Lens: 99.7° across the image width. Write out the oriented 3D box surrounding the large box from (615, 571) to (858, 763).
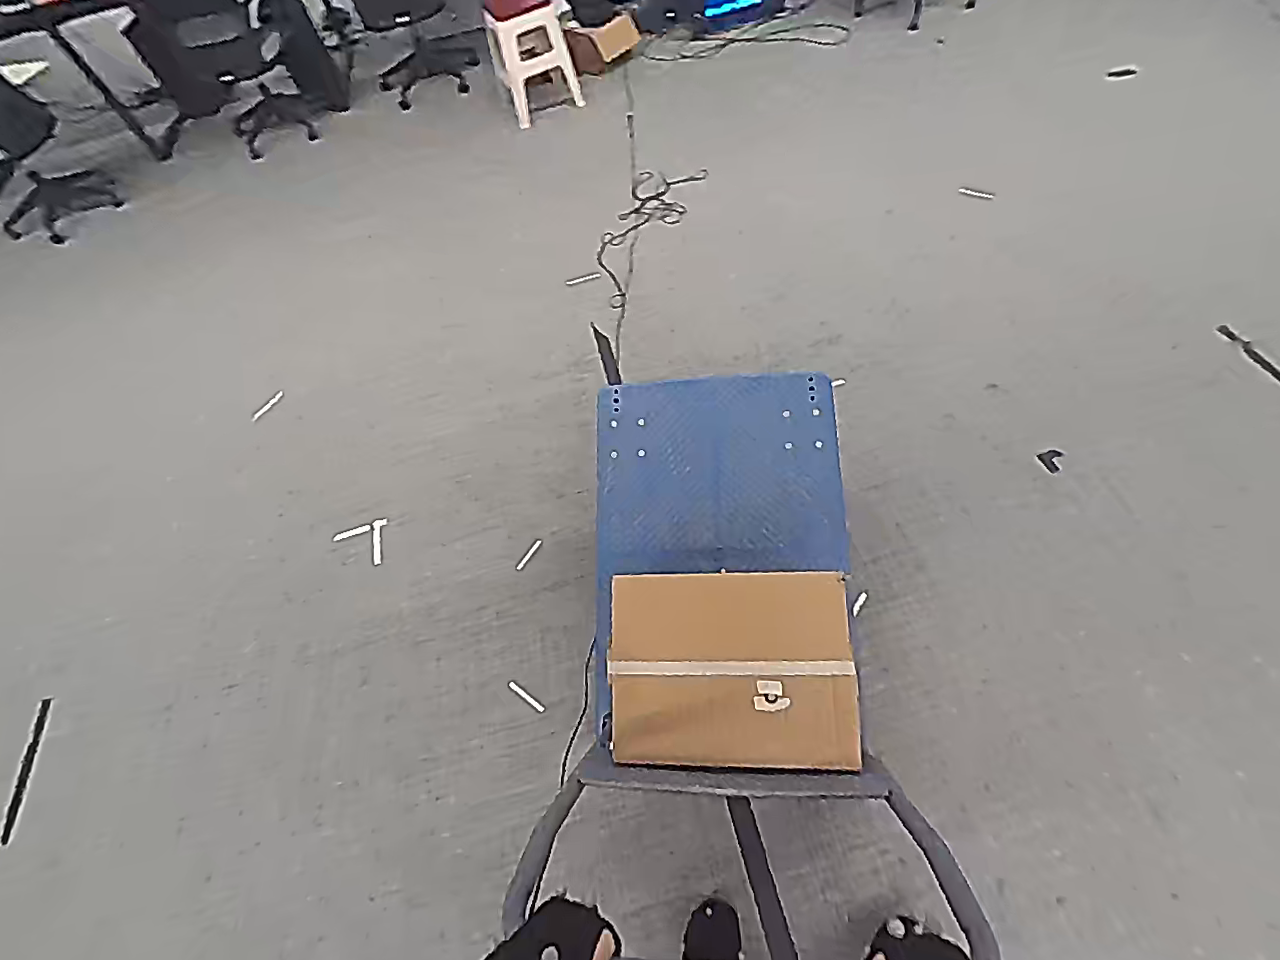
[{"bbox_3d":[0.172,0.354,1.076,0.408,0.320,0.320,-3,78,7],"label":"large box"}]
